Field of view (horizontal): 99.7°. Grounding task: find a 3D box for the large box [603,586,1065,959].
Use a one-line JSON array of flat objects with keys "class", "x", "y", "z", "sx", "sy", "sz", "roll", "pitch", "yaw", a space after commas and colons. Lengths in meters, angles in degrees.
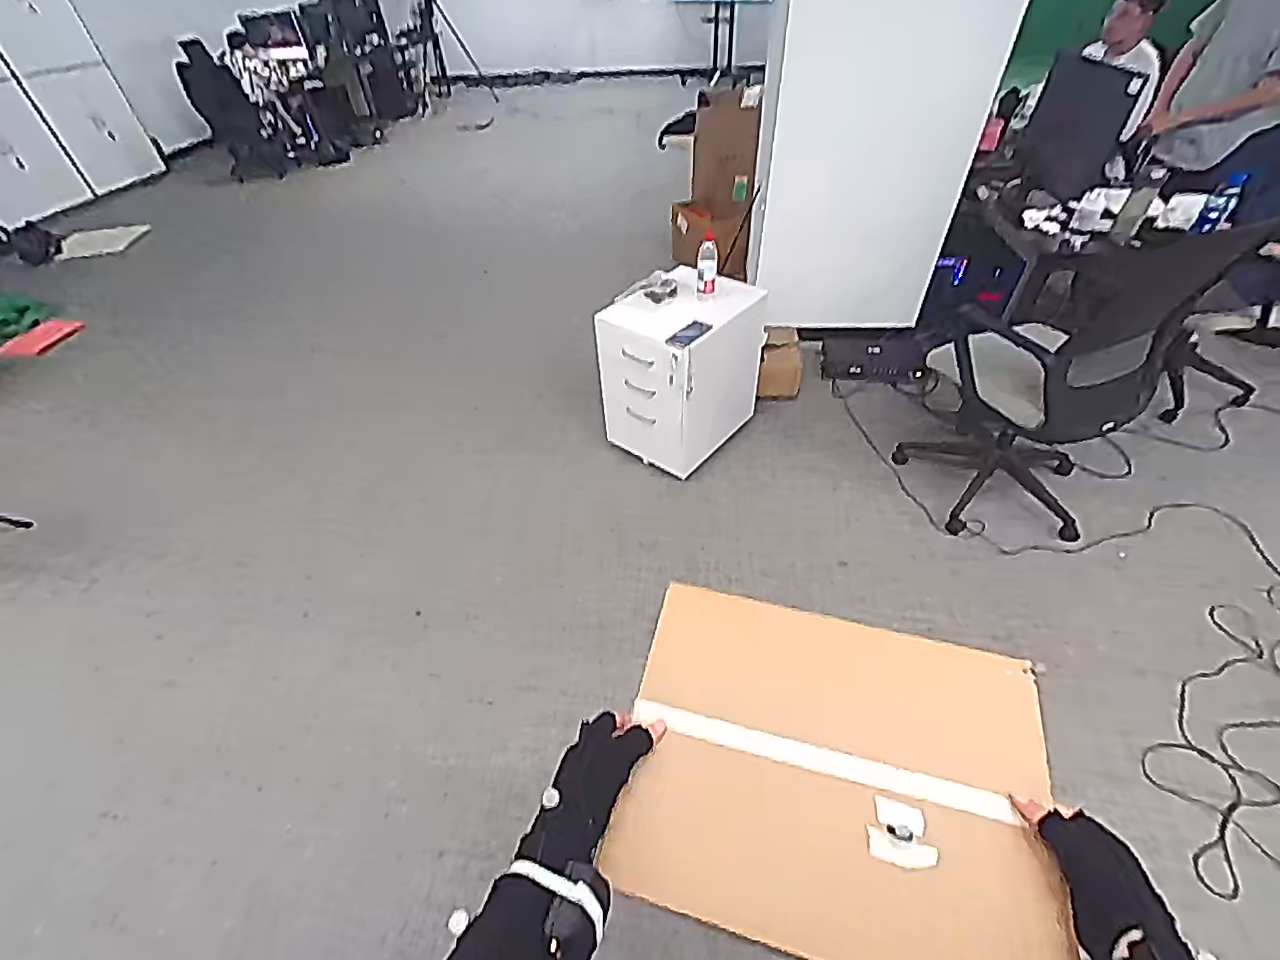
[{"class": "large box", "x": 0.198, "y": 0.373, "z": 0.671, "sx": 0.408, "sy": 0.320, "sz": 0.320, "roll": 10, "pitch": 54, "yaw": 12}]
